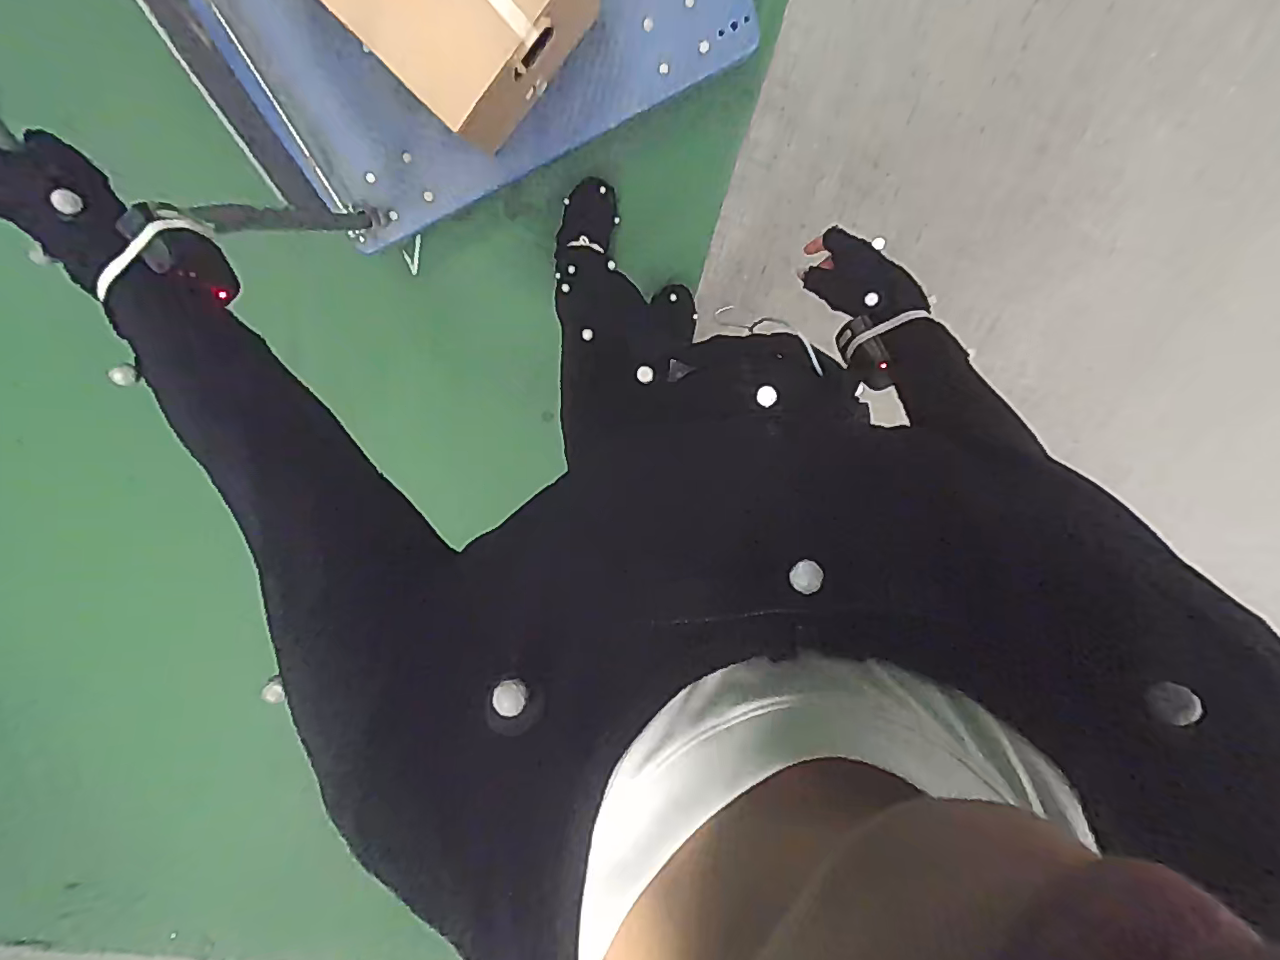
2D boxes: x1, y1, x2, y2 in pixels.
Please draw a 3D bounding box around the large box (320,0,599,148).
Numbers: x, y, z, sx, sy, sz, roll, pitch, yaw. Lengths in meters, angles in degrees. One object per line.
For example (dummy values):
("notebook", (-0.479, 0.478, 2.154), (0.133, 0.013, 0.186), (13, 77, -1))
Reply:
("large box", (-0.306, -0.777, 0.783), (0.408, 0.320, 0.320), (40, 106, -20))
